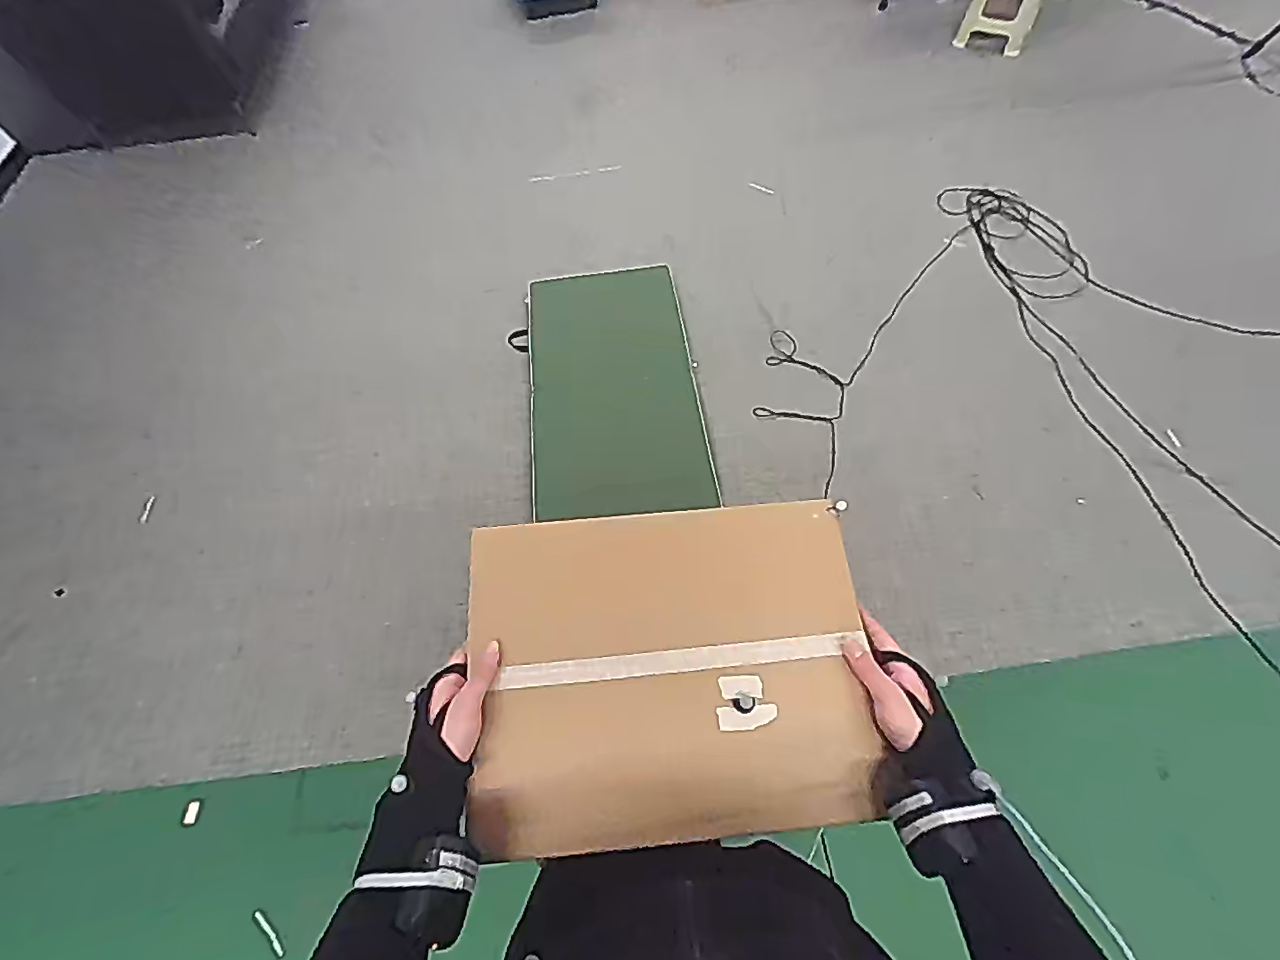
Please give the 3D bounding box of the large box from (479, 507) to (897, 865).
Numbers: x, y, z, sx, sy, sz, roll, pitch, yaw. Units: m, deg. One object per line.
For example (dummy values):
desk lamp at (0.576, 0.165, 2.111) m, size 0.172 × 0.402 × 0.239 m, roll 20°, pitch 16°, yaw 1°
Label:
large box at (0.029, 0.248, 0.694) m, size 0.408 × 0.320 × 0.320 m, roll -5°, pitch 68°, yaw -3°
